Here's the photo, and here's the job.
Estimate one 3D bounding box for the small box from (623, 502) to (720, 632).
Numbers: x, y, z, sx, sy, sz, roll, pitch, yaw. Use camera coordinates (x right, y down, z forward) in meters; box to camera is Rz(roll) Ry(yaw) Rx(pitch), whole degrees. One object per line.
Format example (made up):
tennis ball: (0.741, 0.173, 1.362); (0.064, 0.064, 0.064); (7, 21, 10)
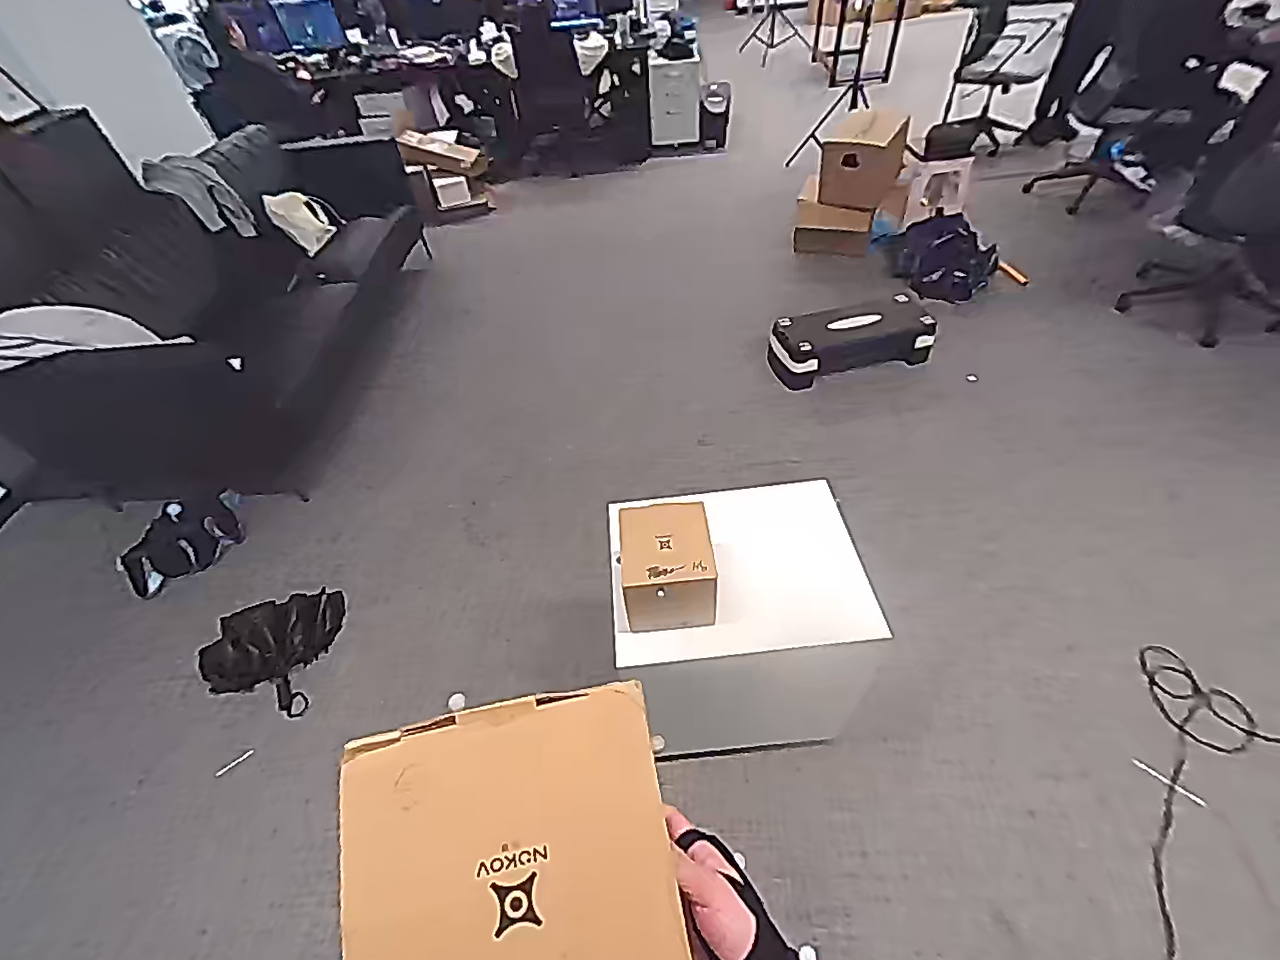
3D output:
small box: (0.056, 0.166, 1.030); (0.168, 0.176, 0.179); (-6, 46, 2)

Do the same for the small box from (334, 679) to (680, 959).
small box: (-0.077, 0.237, 0.350); (0.168, 0.176, 0.179); (-9, 70, -8)
